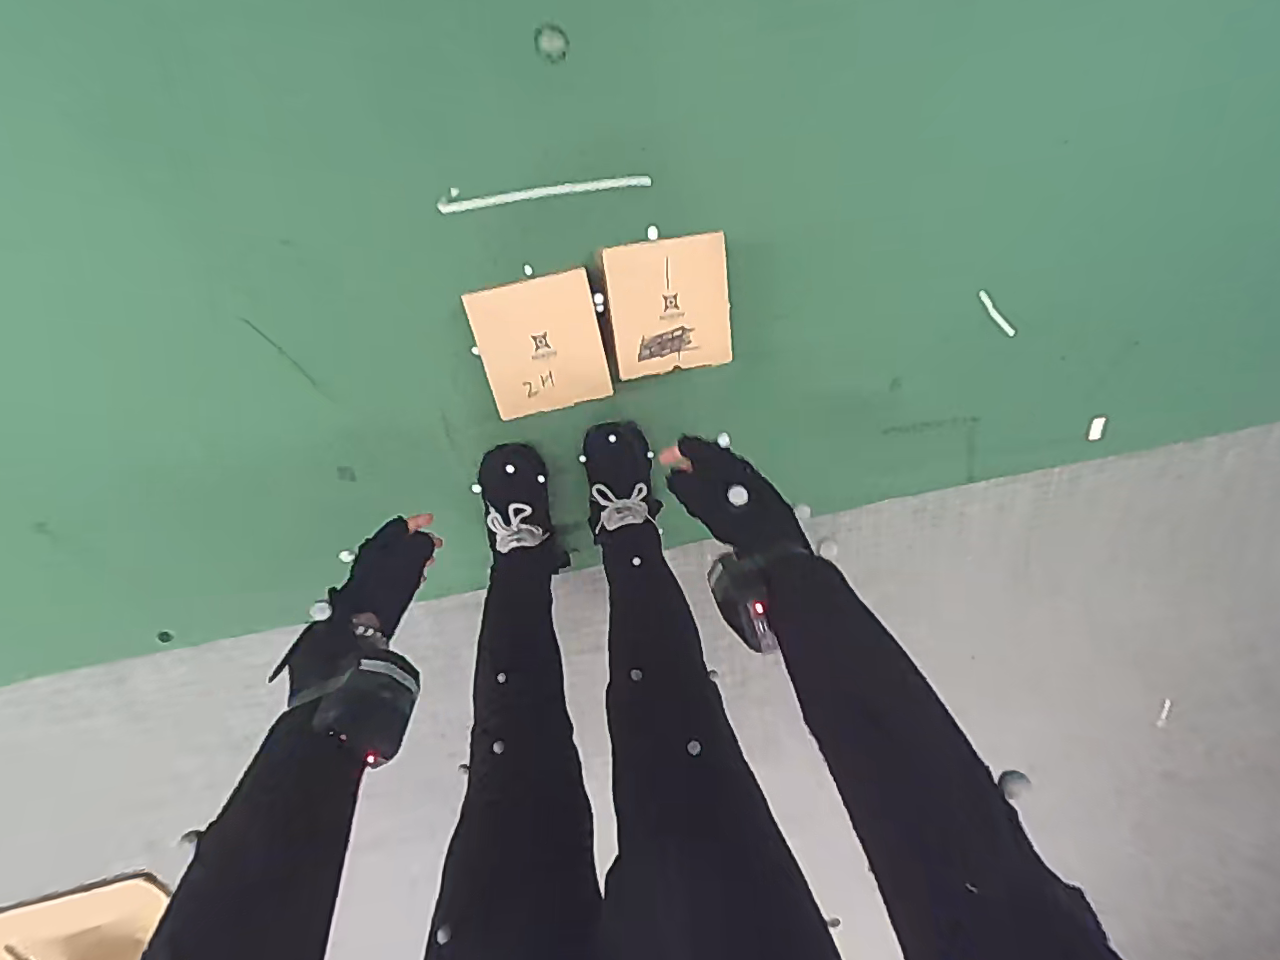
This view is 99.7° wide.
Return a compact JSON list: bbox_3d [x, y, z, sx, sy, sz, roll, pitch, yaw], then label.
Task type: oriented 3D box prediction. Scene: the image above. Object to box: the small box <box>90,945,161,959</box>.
[{"bbox_3d":[-1.236,1.224,1.240,0.179,0.176,0.168,-16,114,-3],"label":"small box"}]
